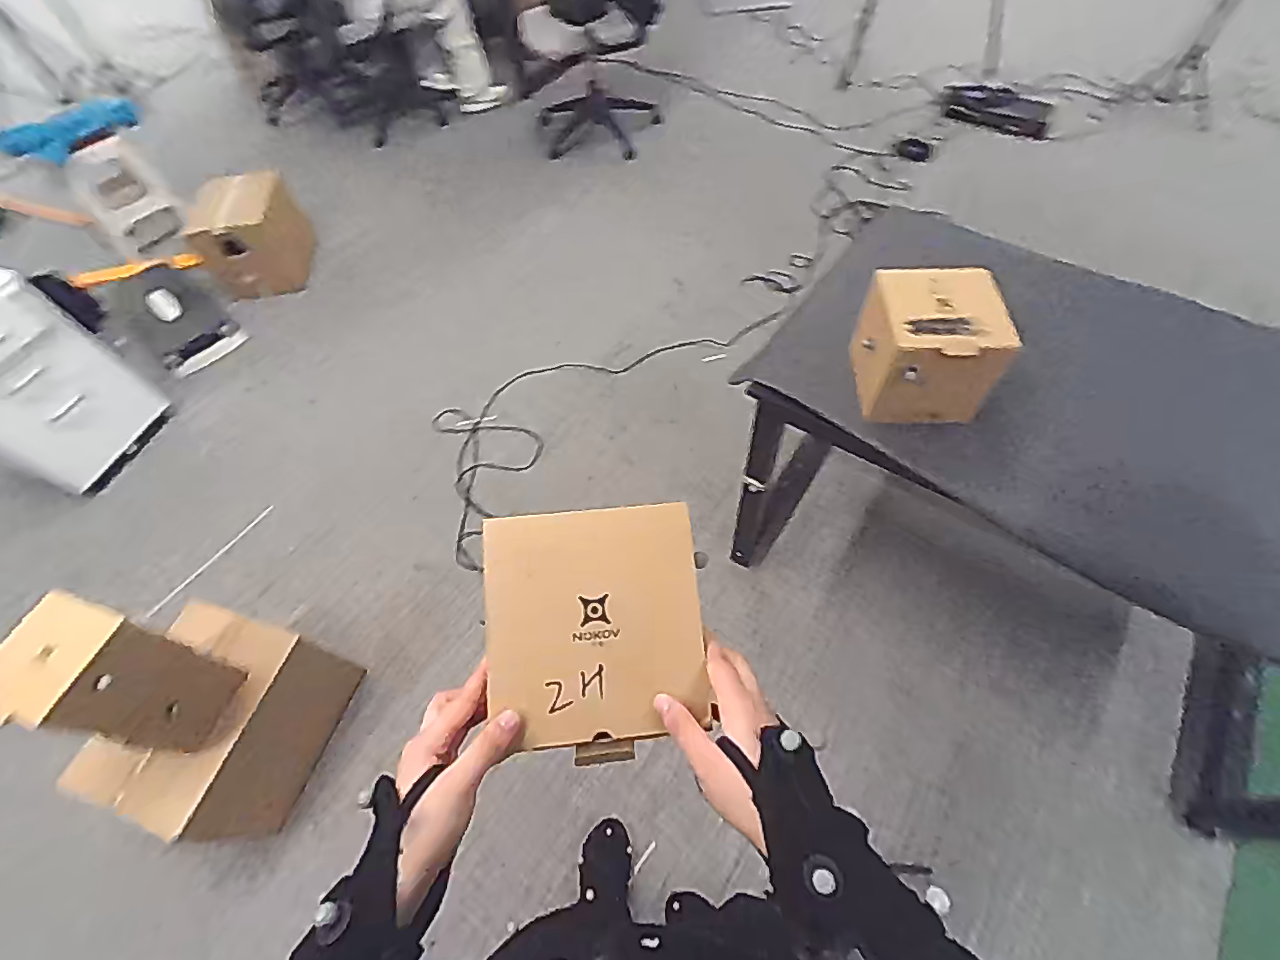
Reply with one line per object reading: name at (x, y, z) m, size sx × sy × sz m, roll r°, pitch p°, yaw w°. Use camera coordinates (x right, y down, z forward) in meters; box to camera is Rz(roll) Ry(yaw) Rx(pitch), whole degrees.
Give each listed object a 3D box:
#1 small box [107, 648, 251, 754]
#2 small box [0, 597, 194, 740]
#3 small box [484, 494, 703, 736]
small box at (-0.938, 0.430, 1.080) m, size 0.168 × 0.176 × 0.179 m, roll 13°, pitch 60°, yaw 12°
small box at (-0.944, 0.334, 0.948) m, size 0.168 × 0.176 × 0.179 m, roll 14°, pitch 61°, yaw 11°
small box at (-0.042, 0.120, 0.500) m, size 0.168 × 0.176 × 0.179 m, roll -5°, pitch 77°, yaw -2°
